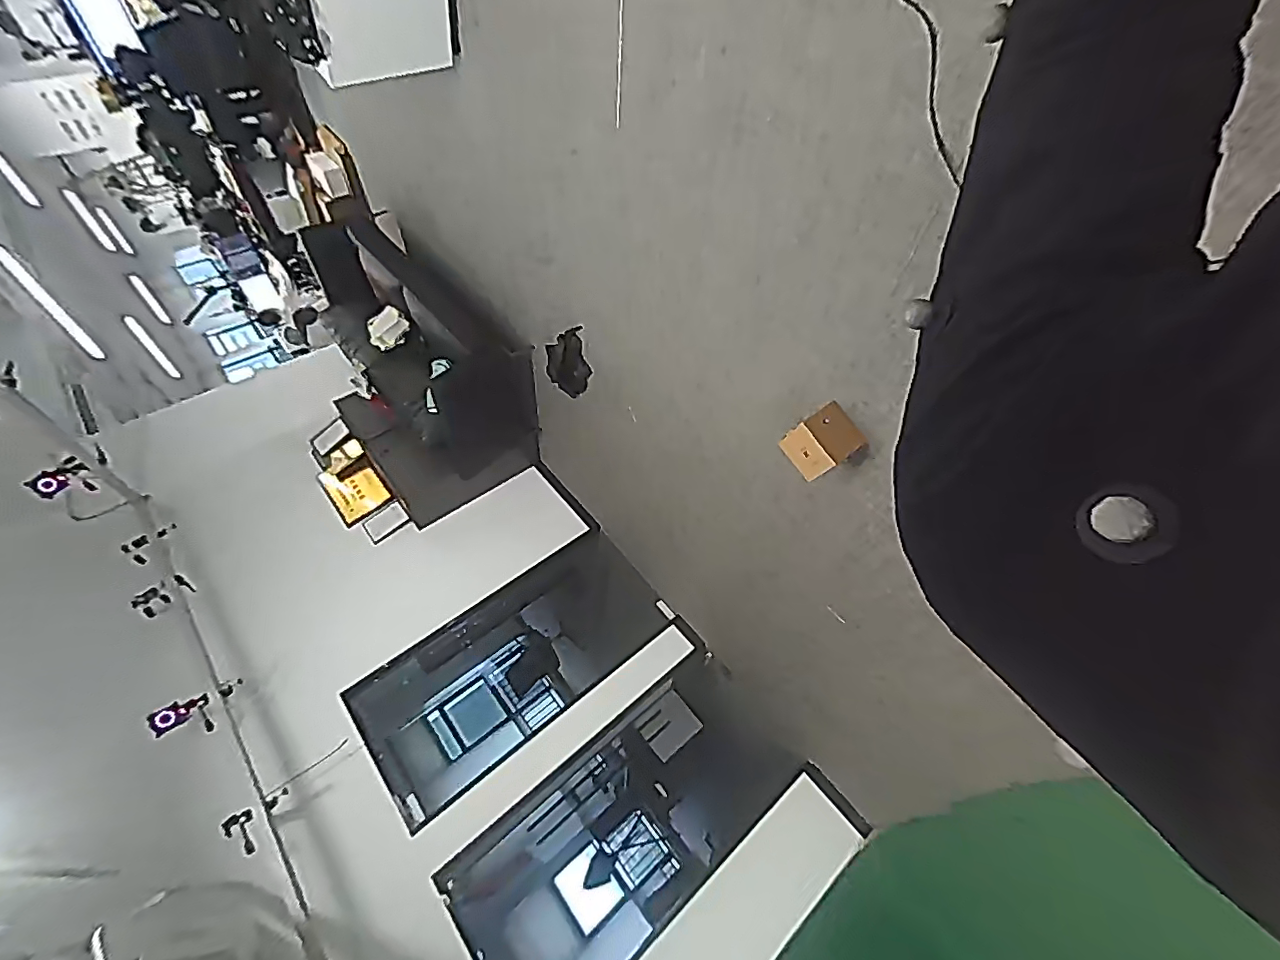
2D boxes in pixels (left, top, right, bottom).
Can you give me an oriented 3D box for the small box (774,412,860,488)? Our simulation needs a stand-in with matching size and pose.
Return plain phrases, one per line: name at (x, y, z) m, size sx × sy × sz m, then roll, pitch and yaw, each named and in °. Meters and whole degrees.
small box at (0.594, -0.109, 1.814) m, size 0.179 × 0.176 × 0.168 m, roll 53°, pitch 154°, yaw 9°
